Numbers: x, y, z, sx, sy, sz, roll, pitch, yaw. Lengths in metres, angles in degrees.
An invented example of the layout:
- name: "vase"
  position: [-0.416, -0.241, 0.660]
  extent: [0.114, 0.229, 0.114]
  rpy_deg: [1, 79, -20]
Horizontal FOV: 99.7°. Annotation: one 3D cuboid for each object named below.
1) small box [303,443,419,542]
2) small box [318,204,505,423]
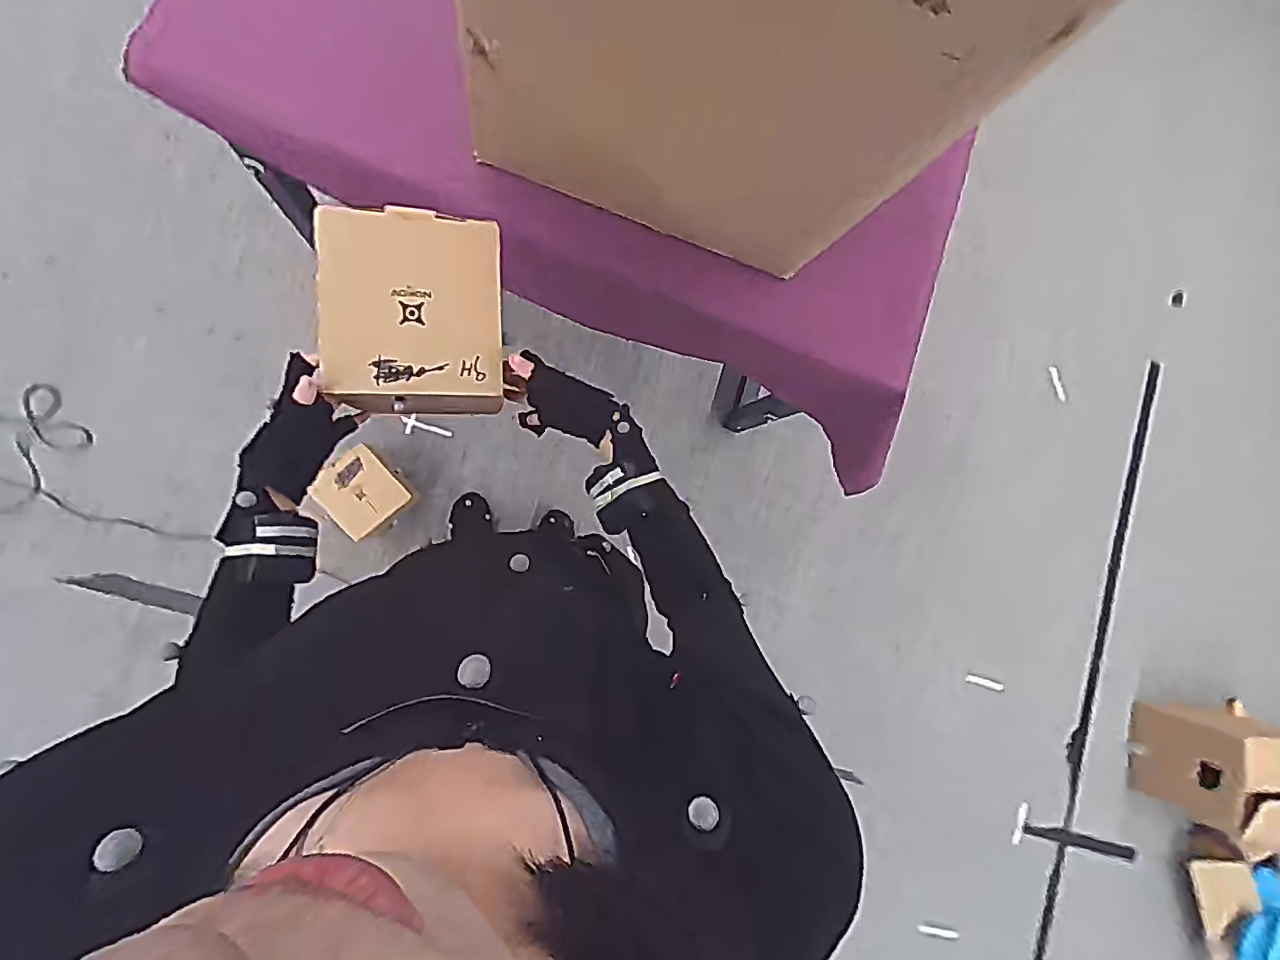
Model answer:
- name: "small box"
  position: [-0.674, 0.033, 1.329]
  extent: [0.168, 0.176, 0.179]
  rpy_deg: [-41, 97, -12]
- name: "small box"
  position: [-0.236, -0.164, 0.590]
  extent: [0.168, 0.176, 0.179]
  rpy_deg: [0, 88, -16]
